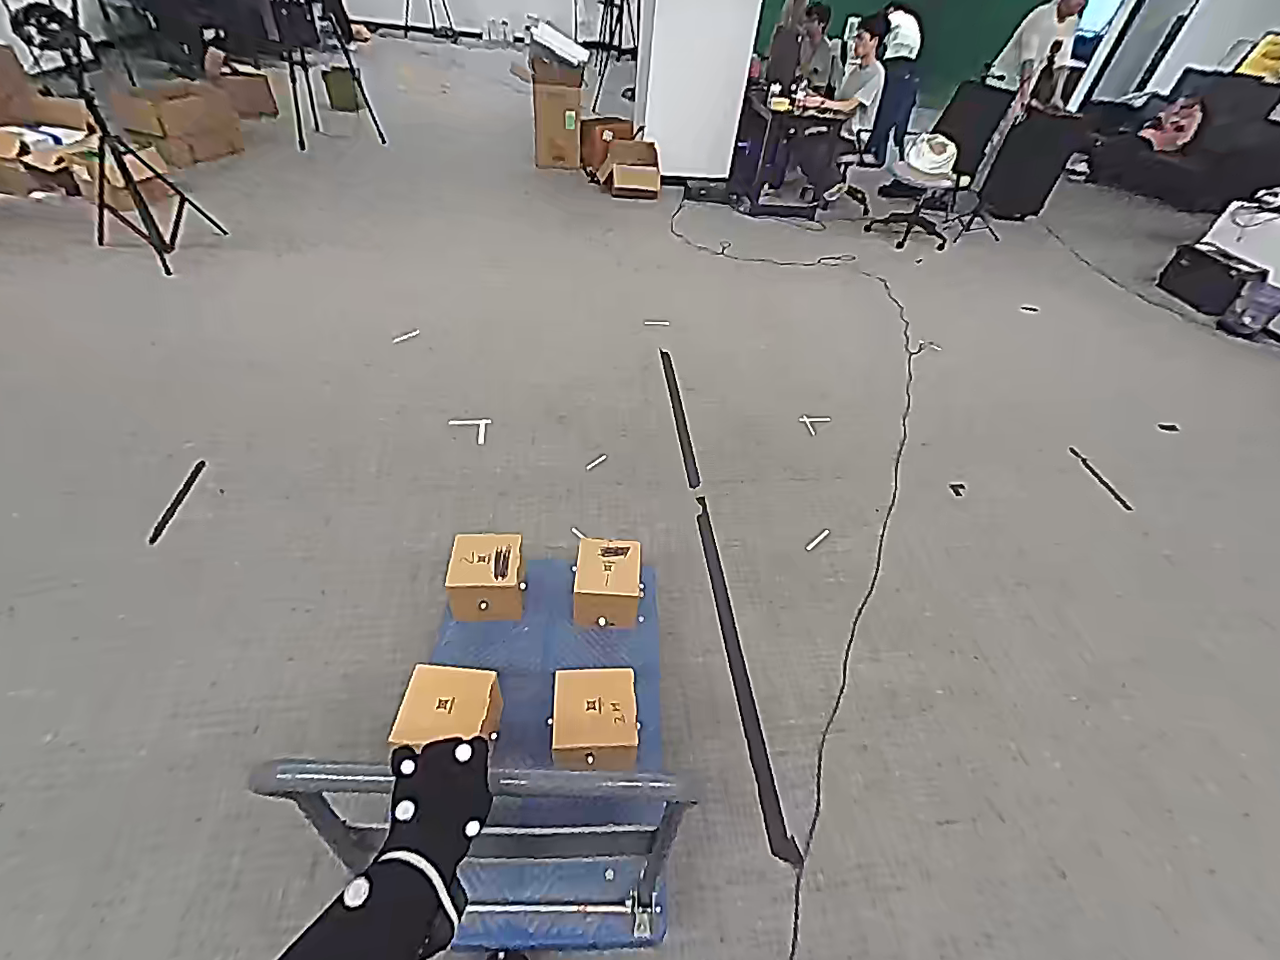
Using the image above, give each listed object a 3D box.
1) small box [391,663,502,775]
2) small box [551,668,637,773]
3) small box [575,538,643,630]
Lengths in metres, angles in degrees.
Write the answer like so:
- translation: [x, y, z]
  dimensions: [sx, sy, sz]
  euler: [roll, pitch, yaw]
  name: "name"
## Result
- translation: [-0.409, 0.520, 1.172]
  dimensions: [0.179, 0.176, 0.168]
  euler: [7, 43, -2]
  name: "small box"
- translation: [-0.100, 0.534, 1.195]
  dimensions: [0.179, 0.176, 0.168]
  euler: [1, 44, -6]
  name: "small box"
- translation: [-0.085, 0.280, 1.458]
  dimensions: [0.168, 0.176, 0.179]
  euler: [5, 45, -2]
  name: "small box"
